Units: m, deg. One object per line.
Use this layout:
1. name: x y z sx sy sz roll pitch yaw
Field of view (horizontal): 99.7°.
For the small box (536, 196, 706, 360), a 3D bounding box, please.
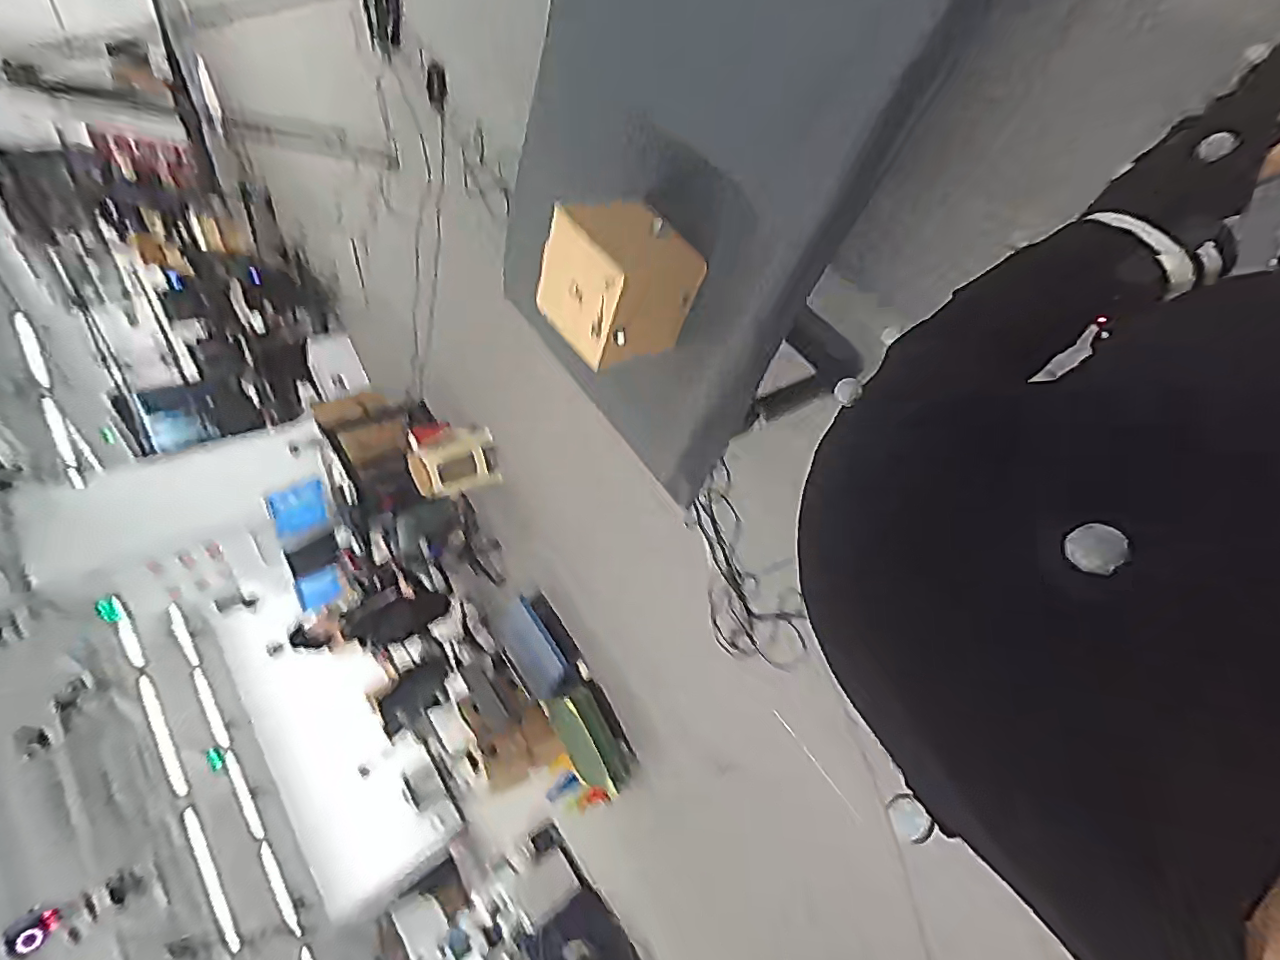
1. small box: -0.033 -0.314 0.840 0.179 0.176 0.168 51 141 20
